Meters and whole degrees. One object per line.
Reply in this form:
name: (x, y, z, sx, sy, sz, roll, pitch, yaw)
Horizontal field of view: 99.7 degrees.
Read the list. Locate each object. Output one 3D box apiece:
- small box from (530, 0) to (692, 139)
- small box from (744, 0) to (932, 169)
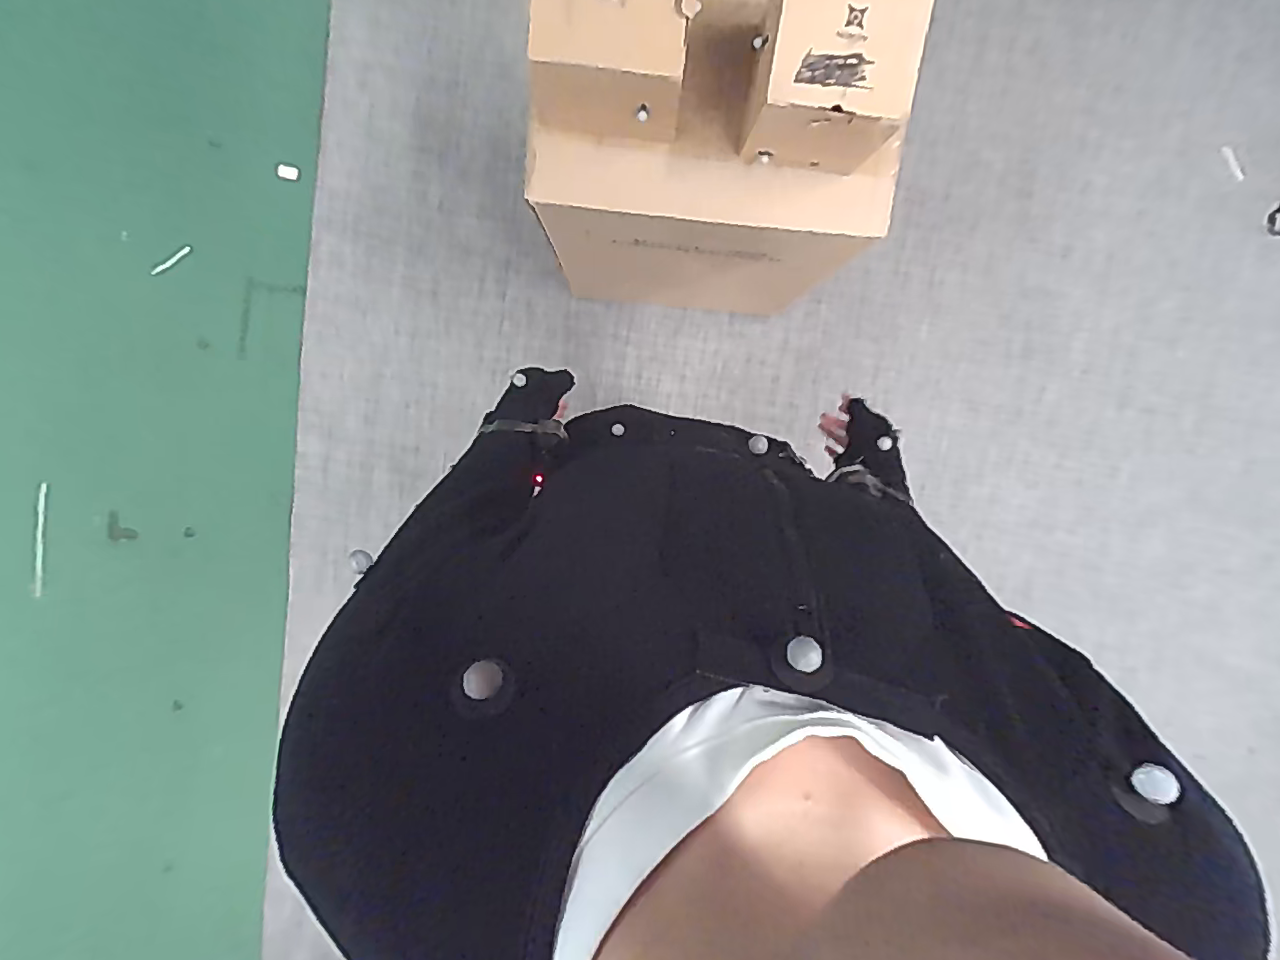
small box: (-0.029, -0.553, 0.673, 0.179, 0.176, 0.168, 6, 99, 1)
small box: (0.234, -0.517, 0.674, 0.168, 0.176, 0.179, 8, 101, -2)
